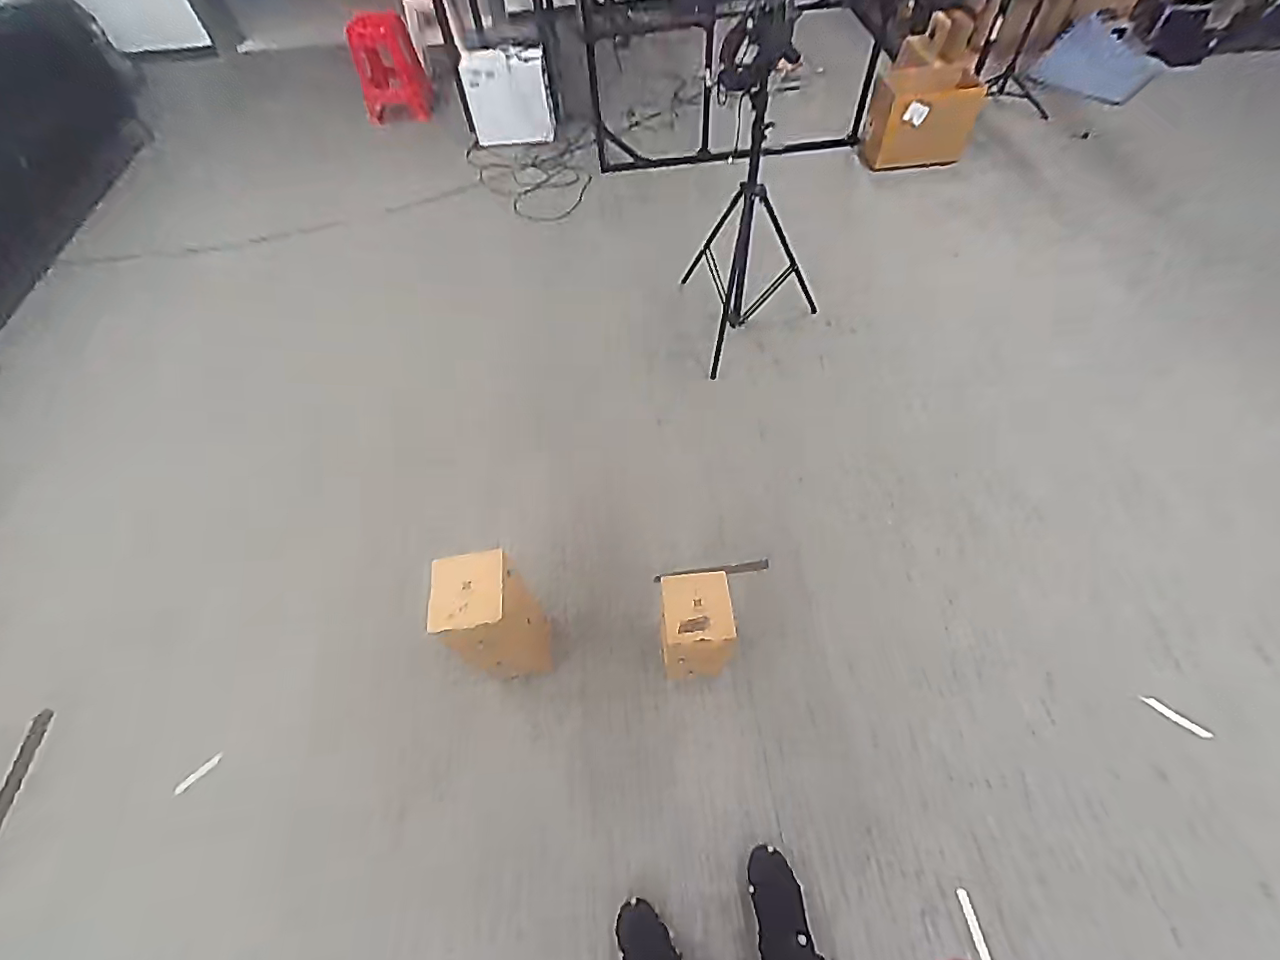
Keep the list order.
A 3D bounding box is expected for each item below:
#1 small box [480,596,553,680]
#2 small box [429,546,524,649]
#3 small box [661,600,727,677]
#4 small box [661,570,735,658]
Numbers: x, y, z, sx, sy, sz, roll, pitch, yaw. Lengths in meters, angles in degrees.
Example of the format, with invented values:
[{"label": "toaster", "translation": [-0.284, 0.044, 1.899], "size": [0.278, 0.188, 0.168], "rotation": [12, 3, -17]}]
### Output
[{"label": "small box", "translation": [-0.348, 0.452, 1.541], "size": [0.168, 0.176, 0.179], "rotation": [-9, 56, 0]}, {"label": "small box", "translation": [-0.374, 0.278, 1.264], "size": [0.168, 0.176, 0.179], "rotation": [-9, 57, 0]}, {"label": "small box", "translation": [0.145, 0.439, 1.515], "size": [0.168, 0.176, 0.179], "rotation": [-4, 57, 1]}, {"label": "small box", "translation": [0.143, 0.348, 1.378], "size": [0.168, 0.176, 0.179], "rotation": [-5, 56, 0]}]
